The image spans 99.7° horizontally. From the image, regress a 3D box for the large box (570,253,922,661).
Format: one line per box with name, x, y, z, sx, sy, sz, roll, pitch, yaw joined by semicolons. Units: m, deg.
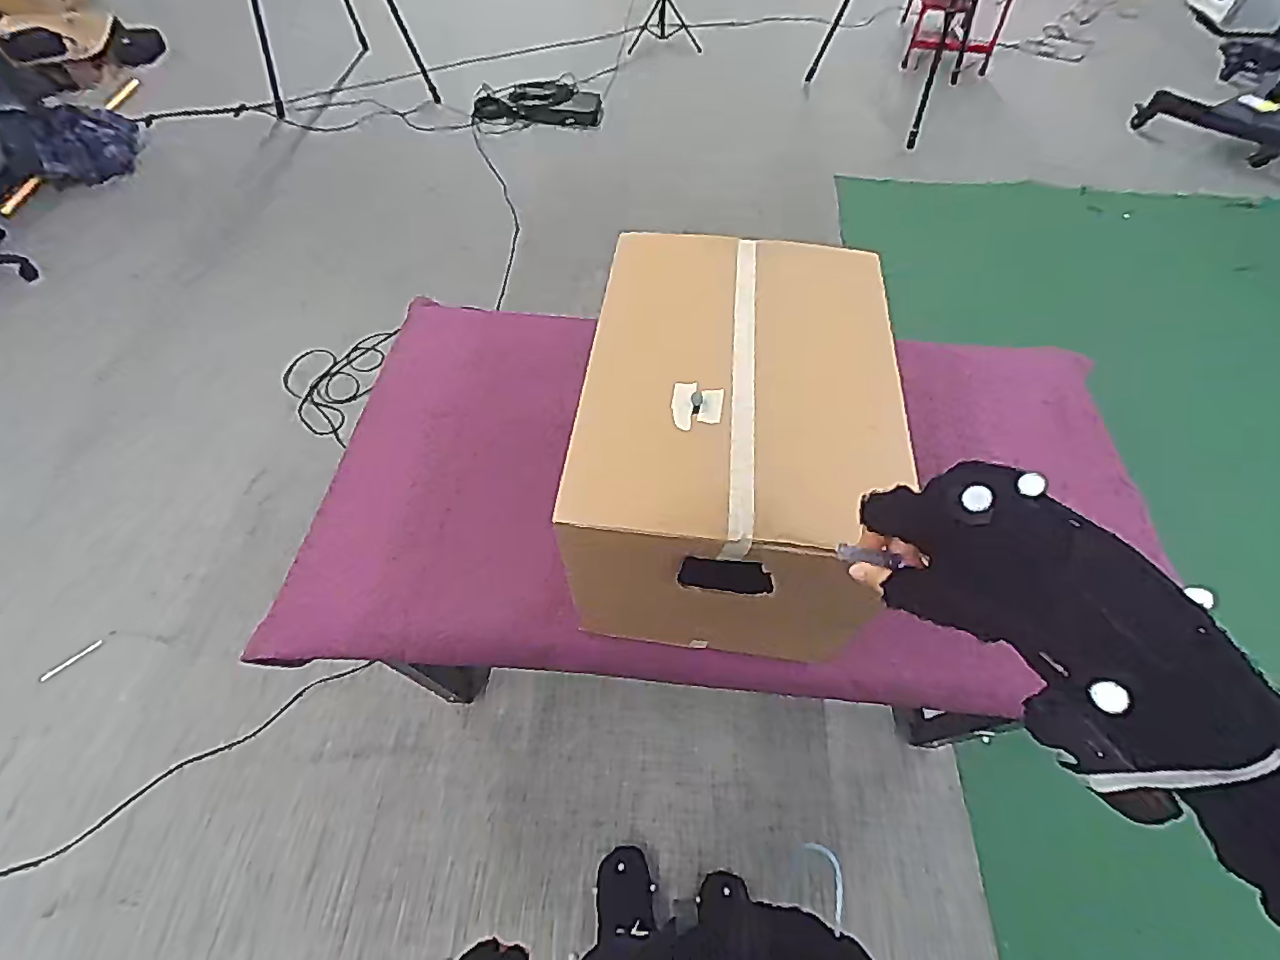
large box;0.107;-0.022;0.693;0.320;0.320;0.408;6;58;4
